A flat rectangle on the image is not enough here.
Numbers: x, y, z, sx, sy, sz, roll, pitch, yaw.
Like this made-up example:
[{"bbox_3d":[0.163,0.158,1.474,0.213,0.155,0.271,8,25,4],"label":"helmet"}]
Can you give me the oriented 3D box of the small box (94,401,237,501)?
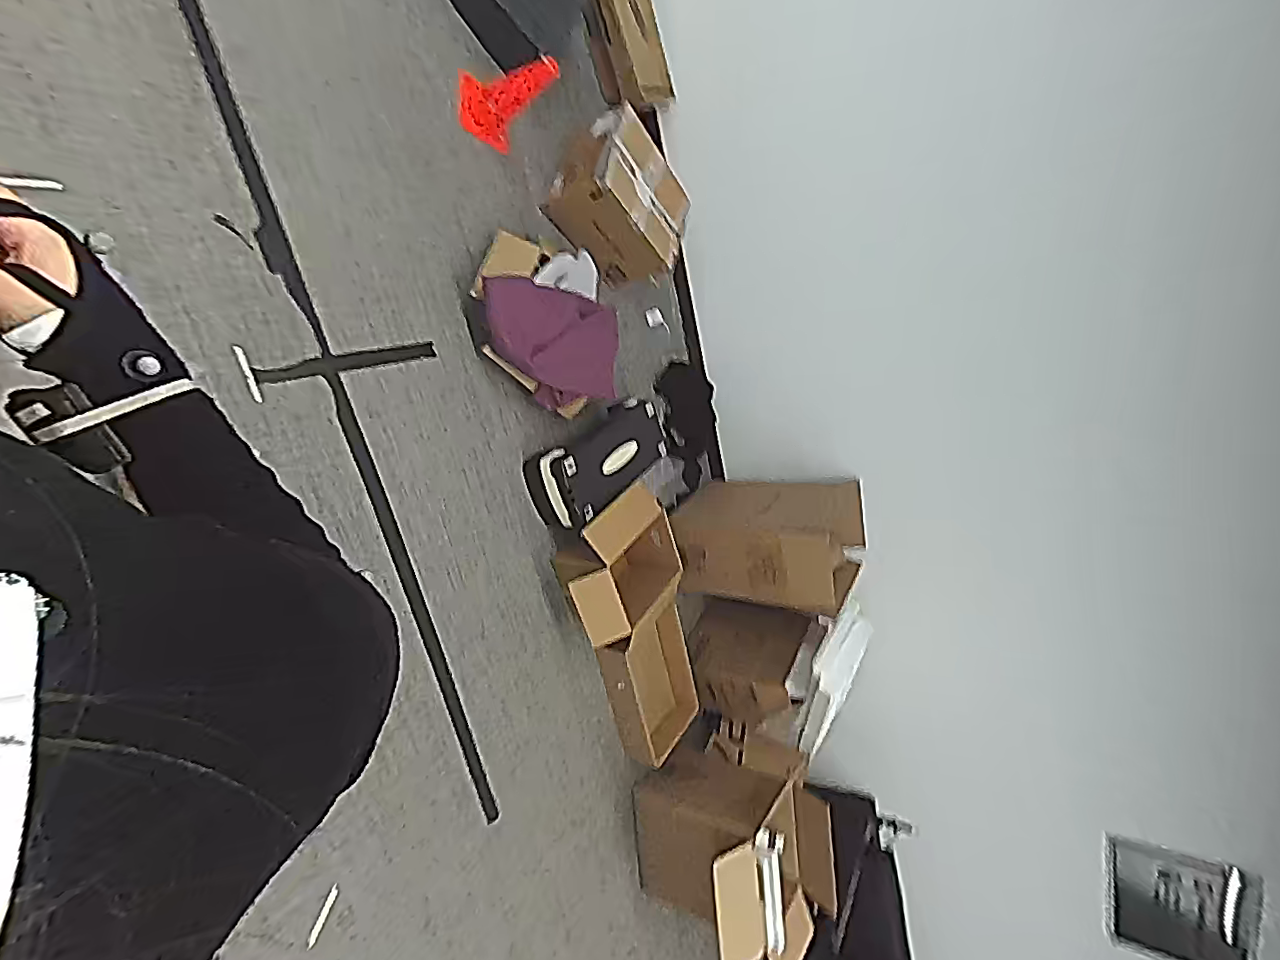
[{"bbox_3d":[-0.998,-0.061,1.137,0.168,0.176,0.179,-26,111,-51],"label":"small box"}]
